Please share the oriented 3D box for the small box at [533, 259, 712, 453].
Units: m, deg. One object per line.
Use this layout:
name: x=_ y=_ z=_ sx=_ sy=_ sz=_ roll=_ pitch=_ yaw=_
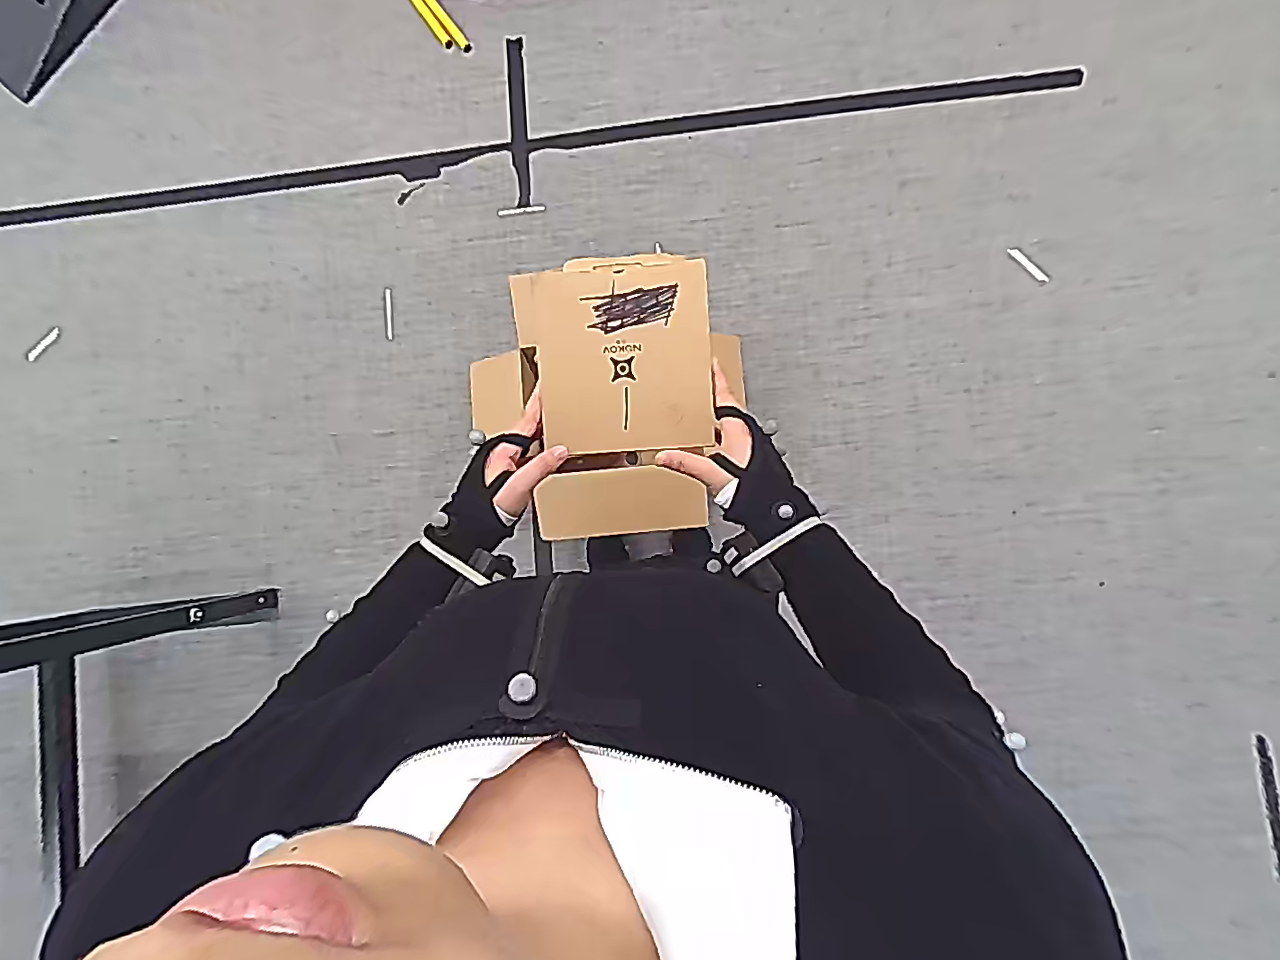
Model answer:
small box: x=-0.014 y=-0.121 z=0.588 sx=0.168 sy=0.176 sz=0.179 roll=-3 pitch=95 yaw=3
